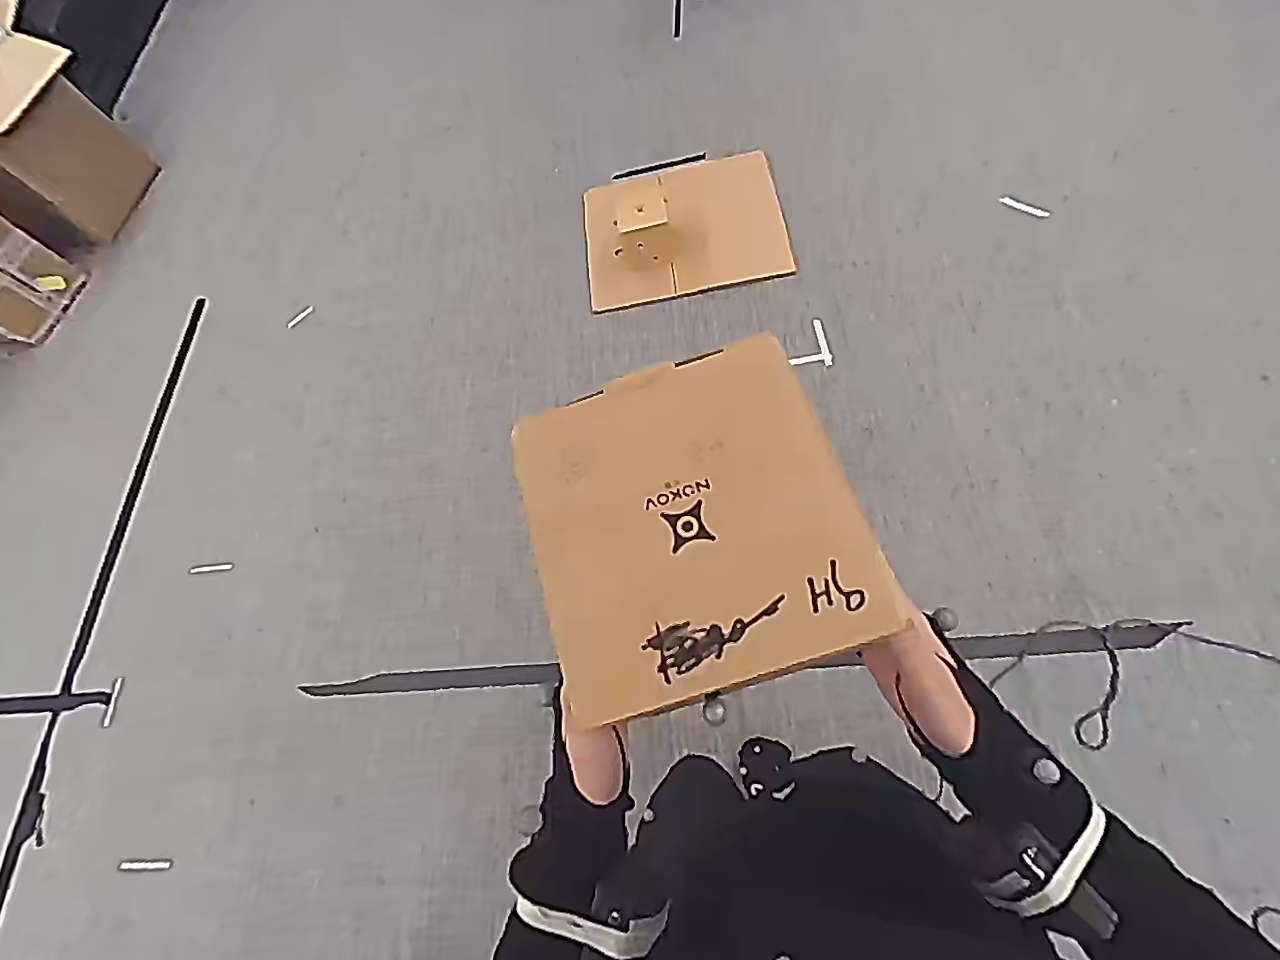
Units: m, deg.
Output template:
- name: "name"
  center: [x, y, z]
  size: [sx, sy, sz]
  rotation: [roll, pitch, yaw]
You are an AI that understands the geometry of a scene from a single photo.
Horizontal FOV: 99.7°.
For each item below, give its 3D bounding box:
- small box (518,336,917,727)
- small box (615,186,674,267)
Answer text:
- name: "small box"
  center: [0.041, 0.046, 0.352]
  size: [0.168, 0.176, 0.179]
  rotation: [-19, 66, 5]
- name: "small box"
  center: [0.018, -0.858, 1.851]
  size: [0.168, 0.176, 0.179]
  rotation: [-11, 66, 7]
